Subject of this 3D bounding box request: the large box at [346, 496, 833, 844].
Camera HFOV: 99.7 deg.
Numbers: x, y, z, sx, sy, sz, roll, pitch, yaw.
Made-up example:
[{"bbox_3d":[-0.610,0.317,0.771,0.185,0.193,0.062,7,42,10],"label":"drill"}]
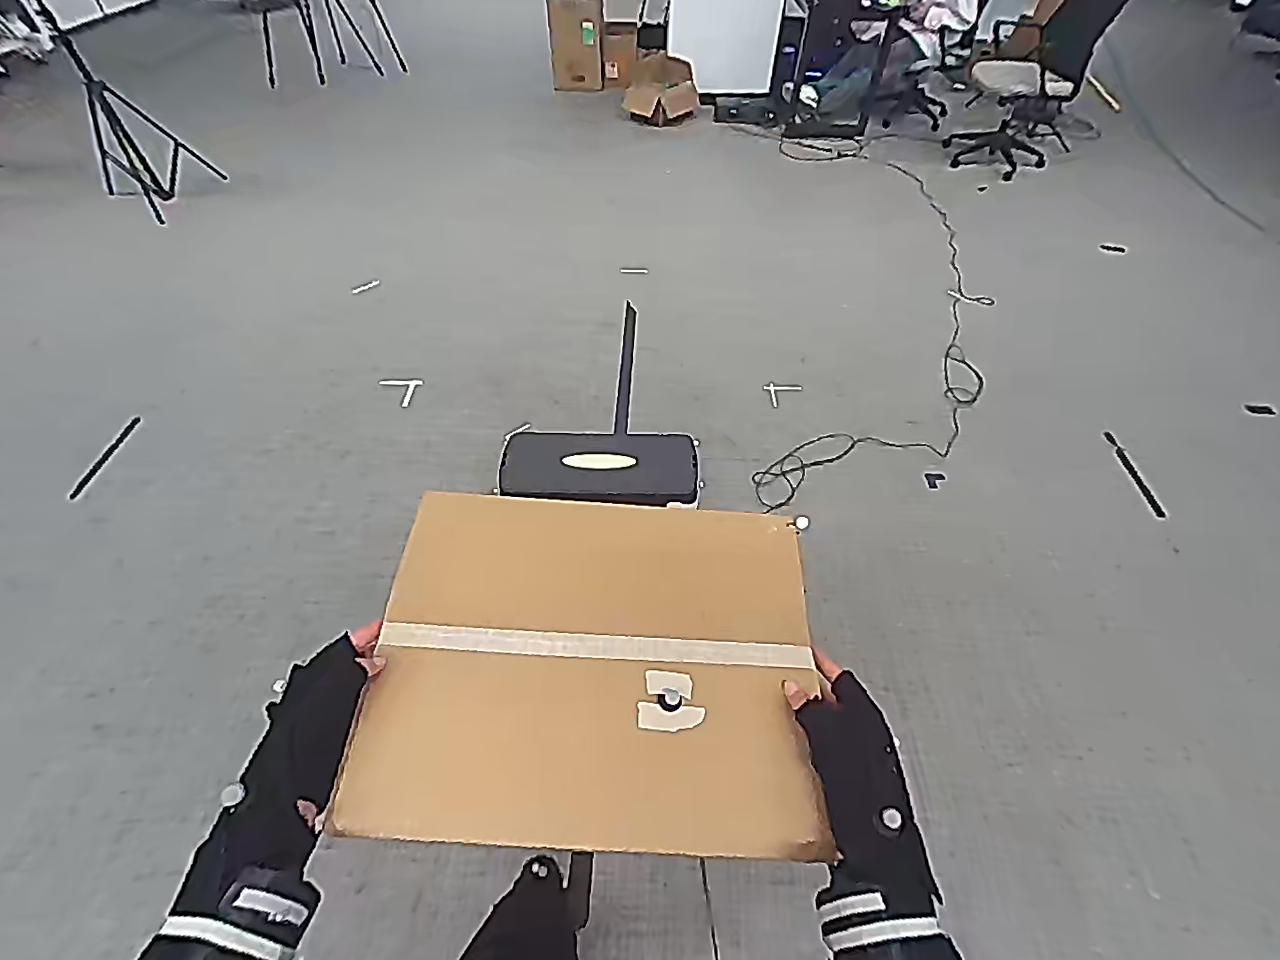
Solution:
[{"bbox_3d":[-0.045,0.238,0.639,0.408,0.320,0.320,4,57,-2],"label":"large box"}]
